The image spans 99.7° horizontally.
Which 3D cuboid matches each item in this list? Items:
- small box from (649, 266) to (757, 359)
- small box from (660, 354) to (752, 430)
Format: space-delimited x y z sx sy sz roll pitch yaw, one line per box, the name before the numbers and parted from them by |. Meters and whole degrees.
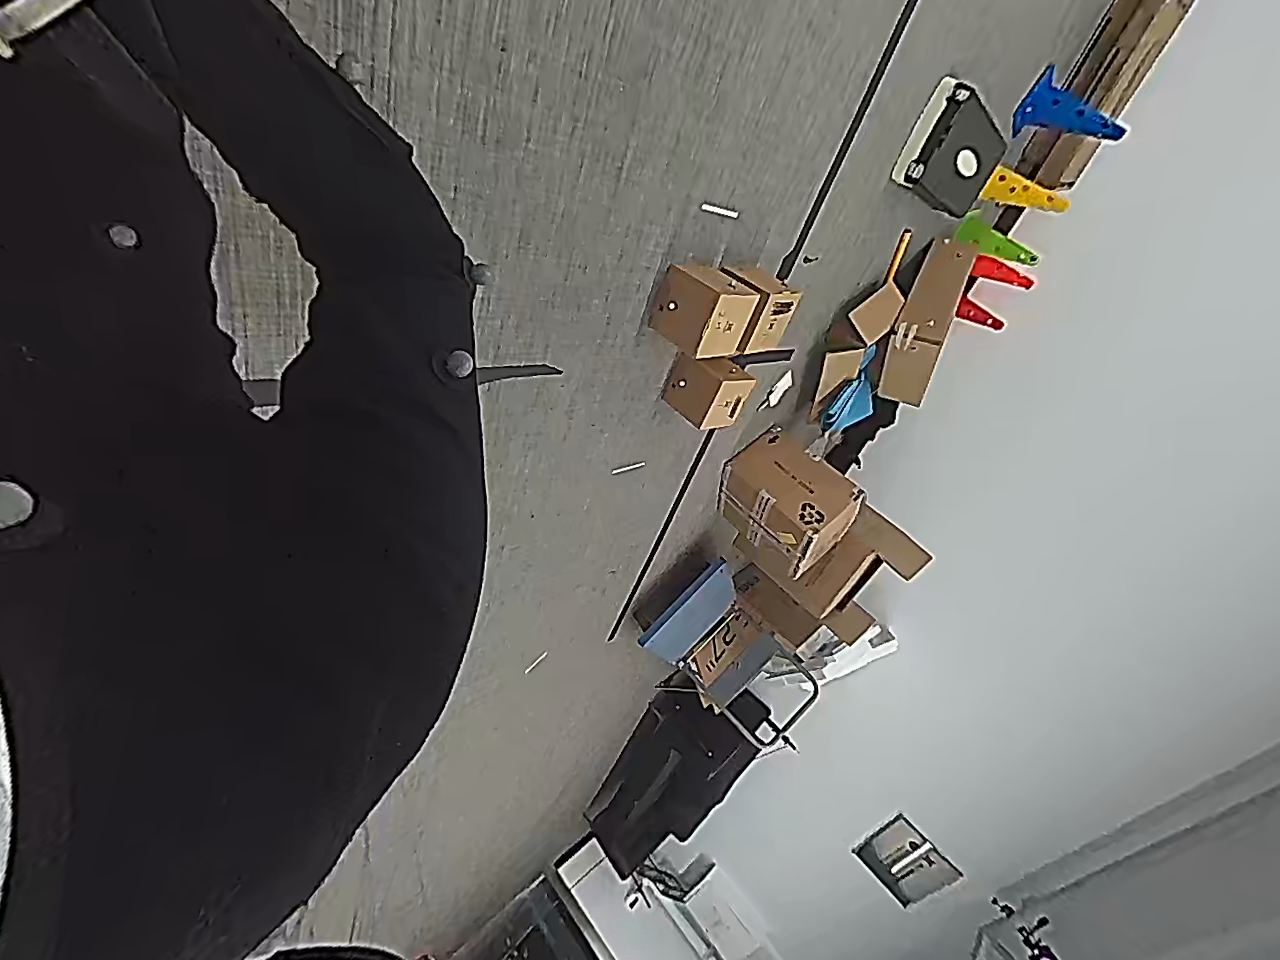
small box | 0.154 -0.422 1.357 0.179 0.176 0.168 -18 140 -45
small box | 0.195 -0.271 1.623 0.179 0.176 0.168 -14 138 -47
